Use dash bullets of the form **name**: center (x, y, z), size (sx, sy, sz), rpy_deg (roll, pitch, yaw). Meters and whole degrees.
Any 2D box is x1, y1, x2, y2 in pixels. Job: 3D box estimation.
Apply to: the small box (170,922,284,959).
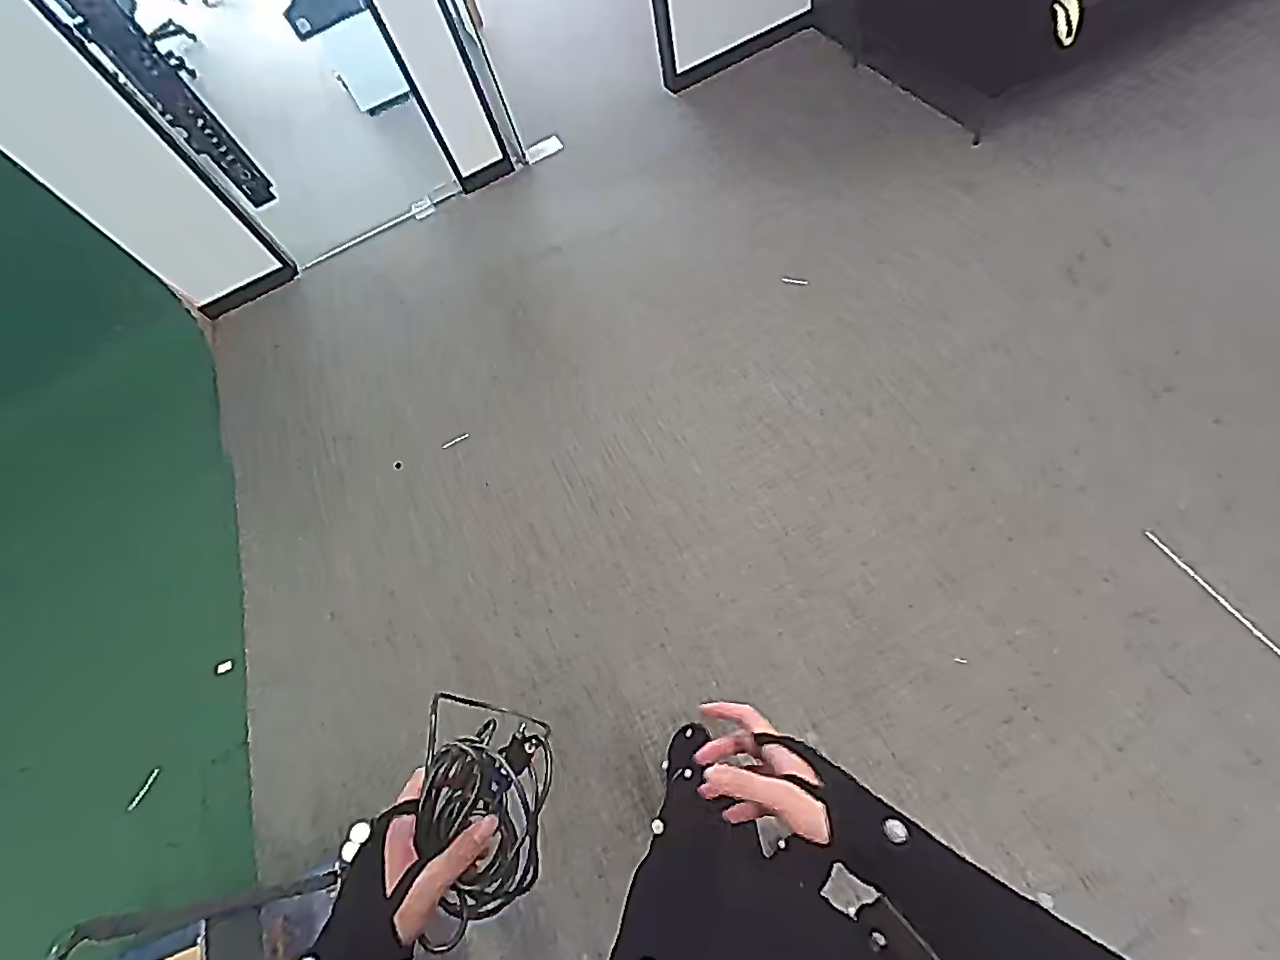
- **small box**: center (-0.879, 1.060, 1.119), size (0.179, 0.176, 0.168), rpy_deg (-23, 60, -2)
